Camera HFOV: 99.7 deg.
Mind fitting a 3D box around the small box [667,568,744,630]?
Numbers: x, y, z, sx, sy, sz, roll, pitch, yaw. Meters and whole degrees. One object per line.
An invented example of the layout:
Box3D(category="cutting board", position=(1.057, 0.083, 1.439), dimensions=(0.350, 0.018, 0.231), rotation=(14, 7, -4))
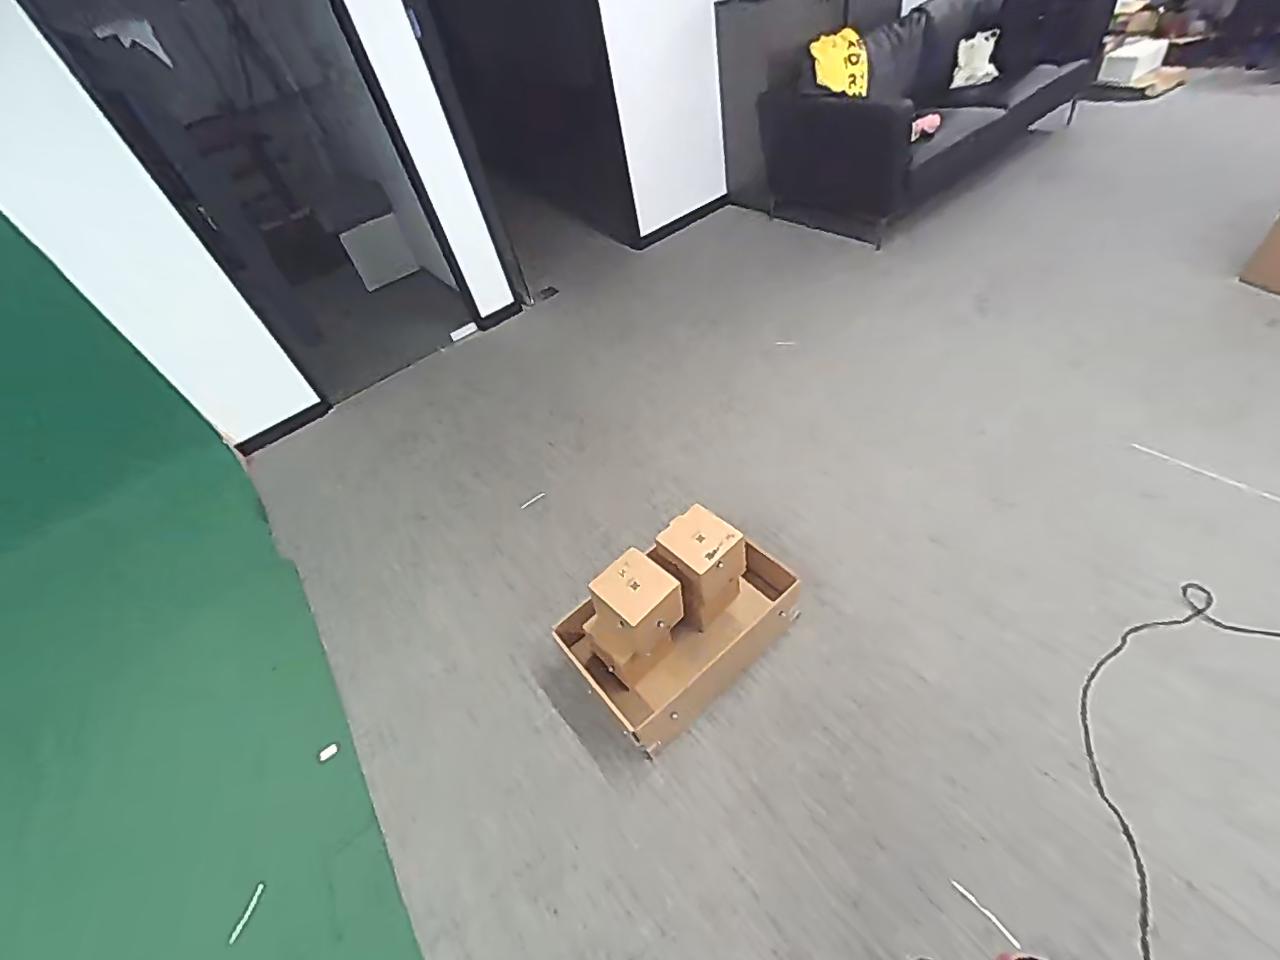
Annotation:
Box3D(category="small box", position=(0.197, 0.311, 1.610), dimensions=(0.168, 0.176, 0.179), rotation=(30, 61, 35))

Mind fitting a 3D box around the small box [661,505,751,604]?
Box3D(category="small box", position=(0.185, 0.207, 1.481), dimensions=(0.168, 0.176, 0.179), rotation=(-40, 50, -20))

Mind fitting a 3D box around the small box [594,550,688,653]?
Box3D(category="small box", position=(0.010, 0.325, 1.418), dimensions=(0.168, 0.176, 0.179), rotation=(-39, 51, -24))

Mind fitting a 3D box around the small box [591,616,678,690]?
Box3D(category="small box", position=(-0.009, 0.455, 1.528), dimensions=(0.179, 0.176, 0.168), rotation=(-38, 51, -23))
